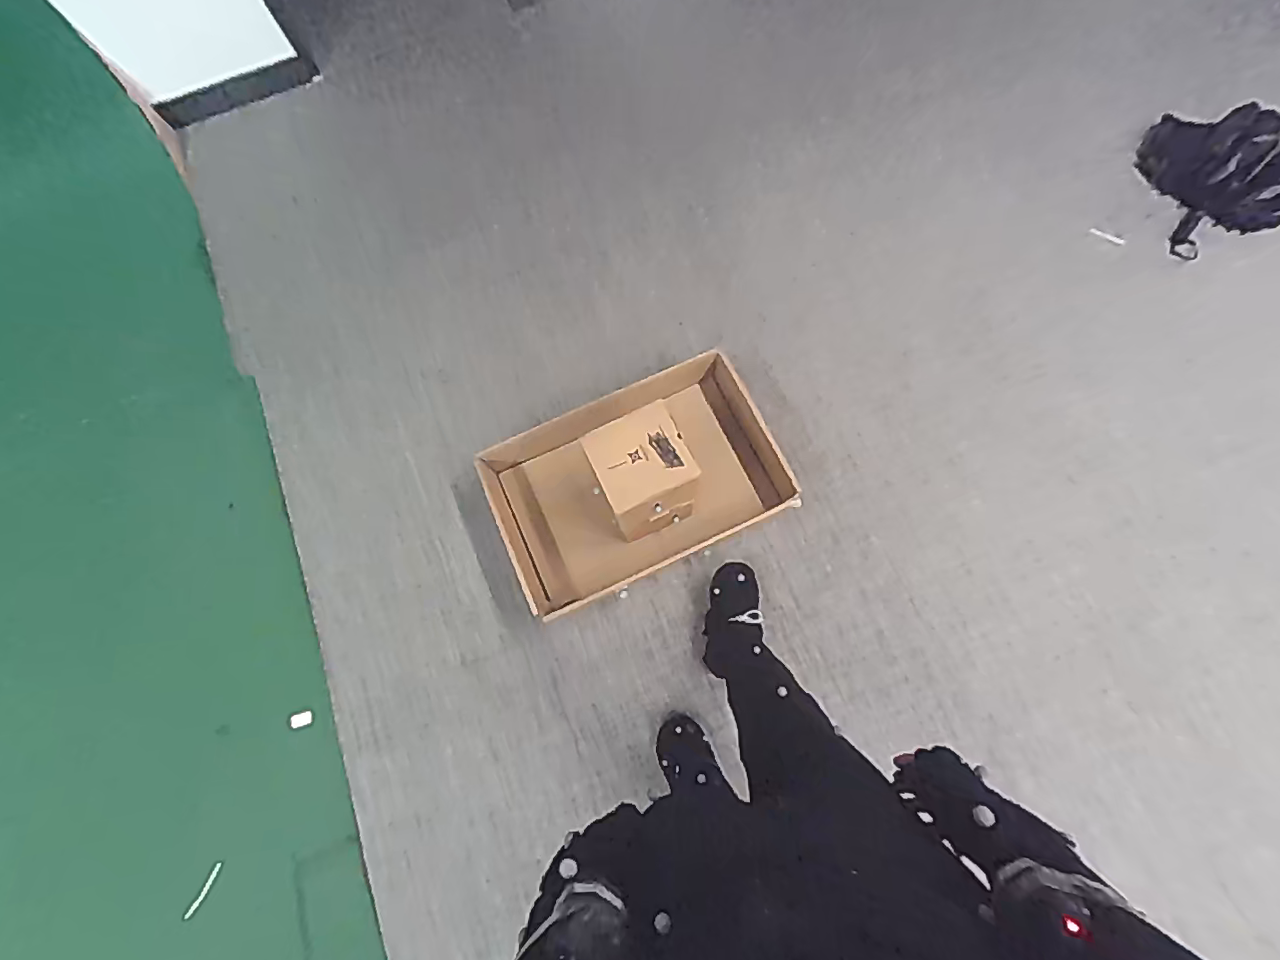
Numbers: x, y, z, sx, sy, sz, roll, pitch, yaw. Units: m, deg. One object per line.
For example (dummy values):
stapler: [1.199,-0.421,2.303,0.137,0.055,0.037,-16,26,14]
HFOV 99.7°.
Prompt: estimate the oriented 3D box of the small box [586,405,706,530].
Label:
small box: [0.013,-0.018,1.061,0.179,0.176,0.168,-25,75,-3]

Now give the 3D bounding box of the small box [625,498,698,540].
small box: [0.021,0.025,1.219,0.168,0.176,0.179,-23,74,-4]
